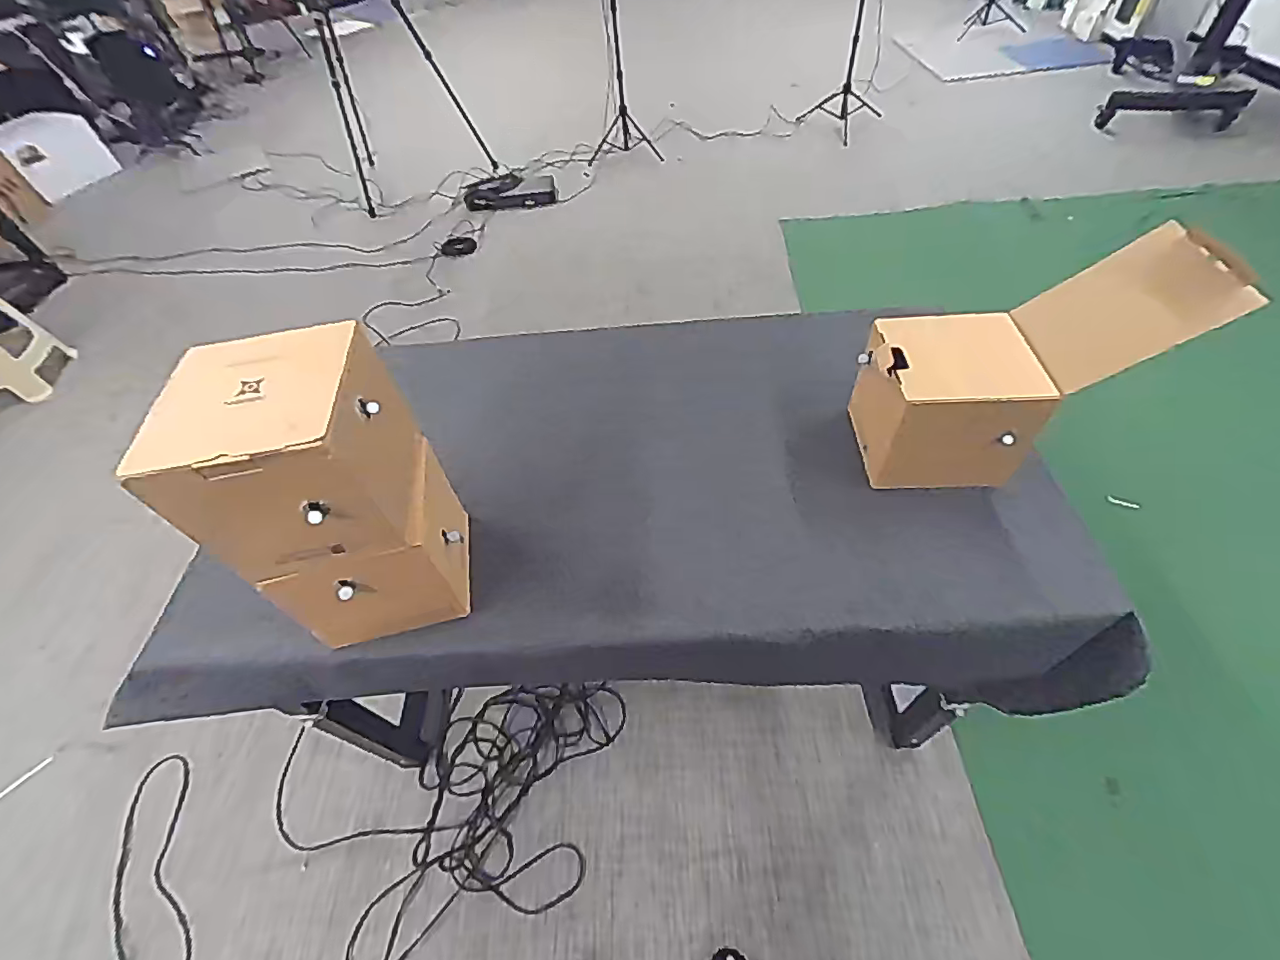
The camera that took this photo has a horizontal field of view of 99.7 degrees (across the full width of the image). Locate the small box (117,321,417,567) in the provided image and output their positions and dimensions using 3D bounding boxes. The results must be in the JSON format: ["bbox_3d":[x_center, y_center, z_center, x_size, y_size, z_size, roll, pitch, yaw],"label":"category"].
[{"bbox_3d":[-0.340,-0.029,0.542,0.168,0.176,0.179,-11,49,-4],"label":"small box"}]

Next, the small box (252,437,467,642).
[{"bbox_3d":[-0.321,0.076,0.665,0.179,0.176,0.168,-13,51,-4],"label":"small box"}]
